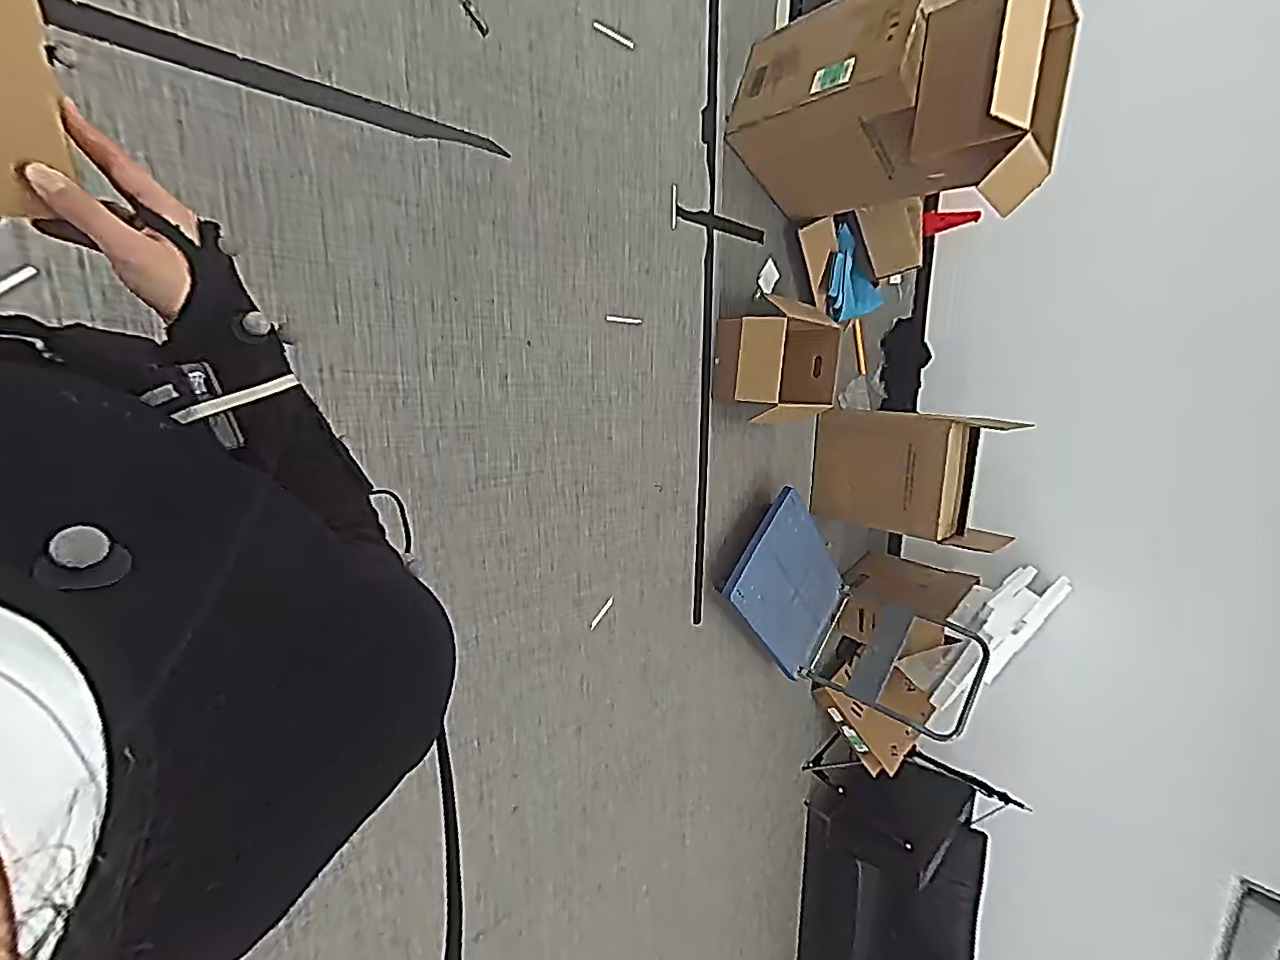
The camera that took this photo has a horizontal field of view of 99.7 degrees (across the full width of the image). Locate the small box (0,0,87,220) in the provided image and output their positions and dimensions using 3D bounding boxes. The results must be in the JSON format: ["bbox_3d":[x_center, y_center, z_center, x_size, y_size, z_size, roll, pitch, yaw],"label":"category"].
[{"bbox_3d":[-0.422,-0.250,0.268,0.179,0.176,0.168,-13,133,-40],"label":"small box"}]
